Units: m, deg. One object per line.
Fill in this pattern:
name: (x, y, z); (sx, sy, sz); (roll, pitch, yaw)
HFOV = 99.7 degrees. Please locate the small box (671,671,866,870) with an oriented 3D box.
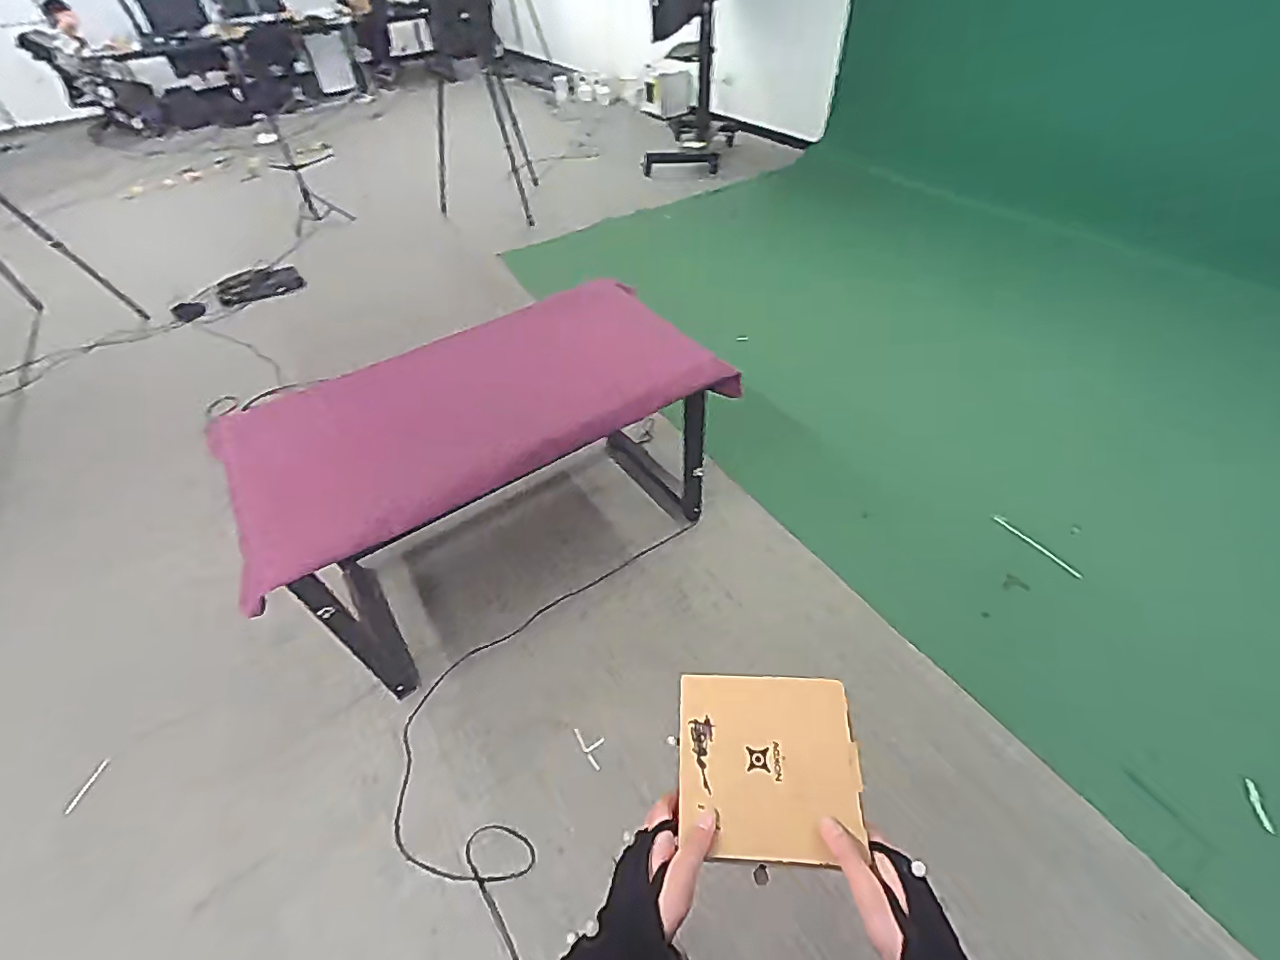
small box: (0.125, 0.322, 0.595); (0.179, 0.176, 0.168); (1, 53, 5)
